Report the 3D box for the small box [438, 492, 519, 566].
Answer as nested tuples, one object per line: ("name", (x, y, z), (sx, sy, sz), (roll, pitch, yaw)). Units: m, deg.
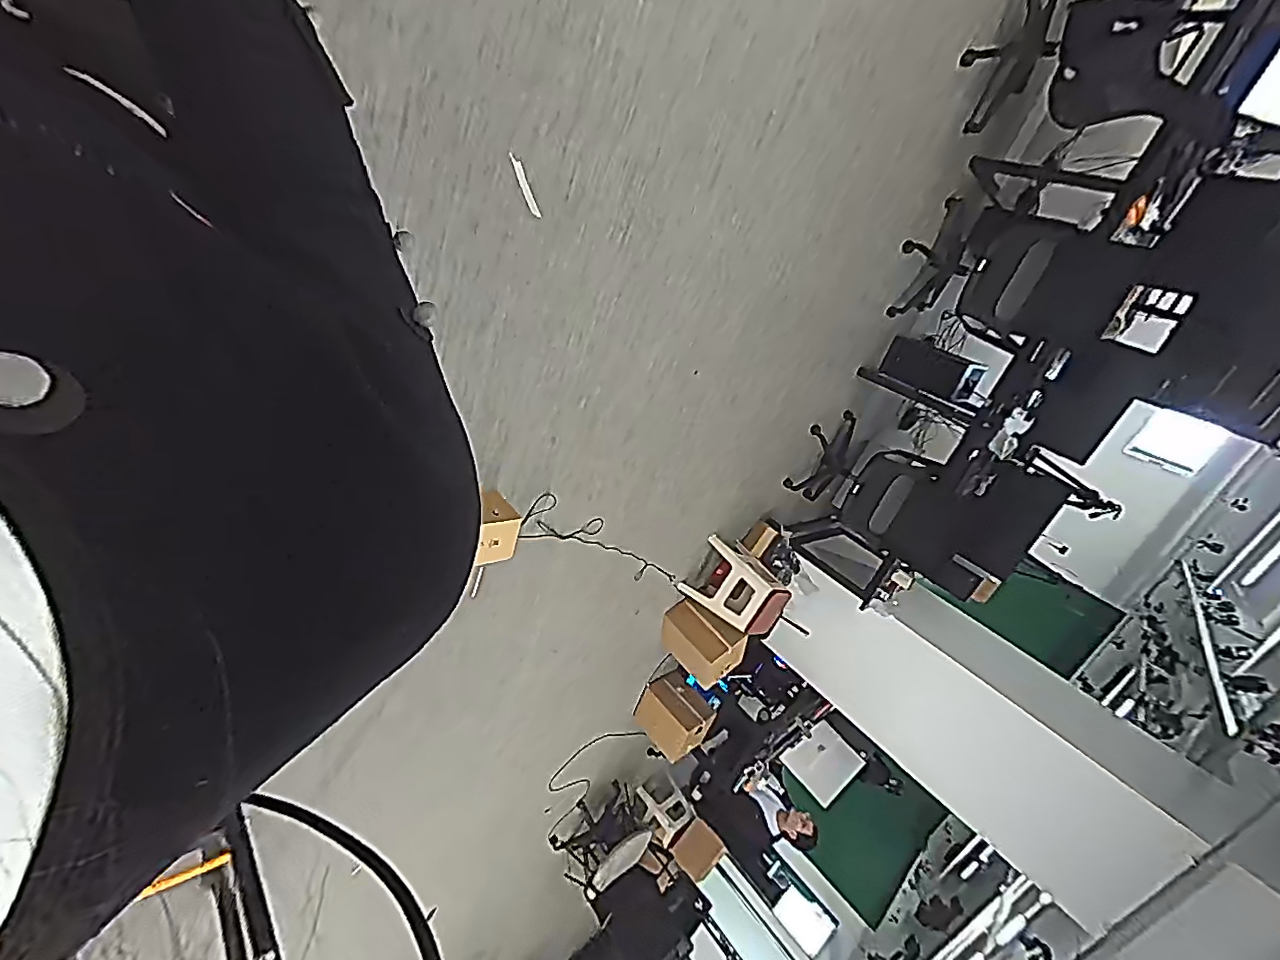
("small box", (-0.526, 0.152, 1.754), (0.179, 0.176, 0.168), (-6, 124, -46))
